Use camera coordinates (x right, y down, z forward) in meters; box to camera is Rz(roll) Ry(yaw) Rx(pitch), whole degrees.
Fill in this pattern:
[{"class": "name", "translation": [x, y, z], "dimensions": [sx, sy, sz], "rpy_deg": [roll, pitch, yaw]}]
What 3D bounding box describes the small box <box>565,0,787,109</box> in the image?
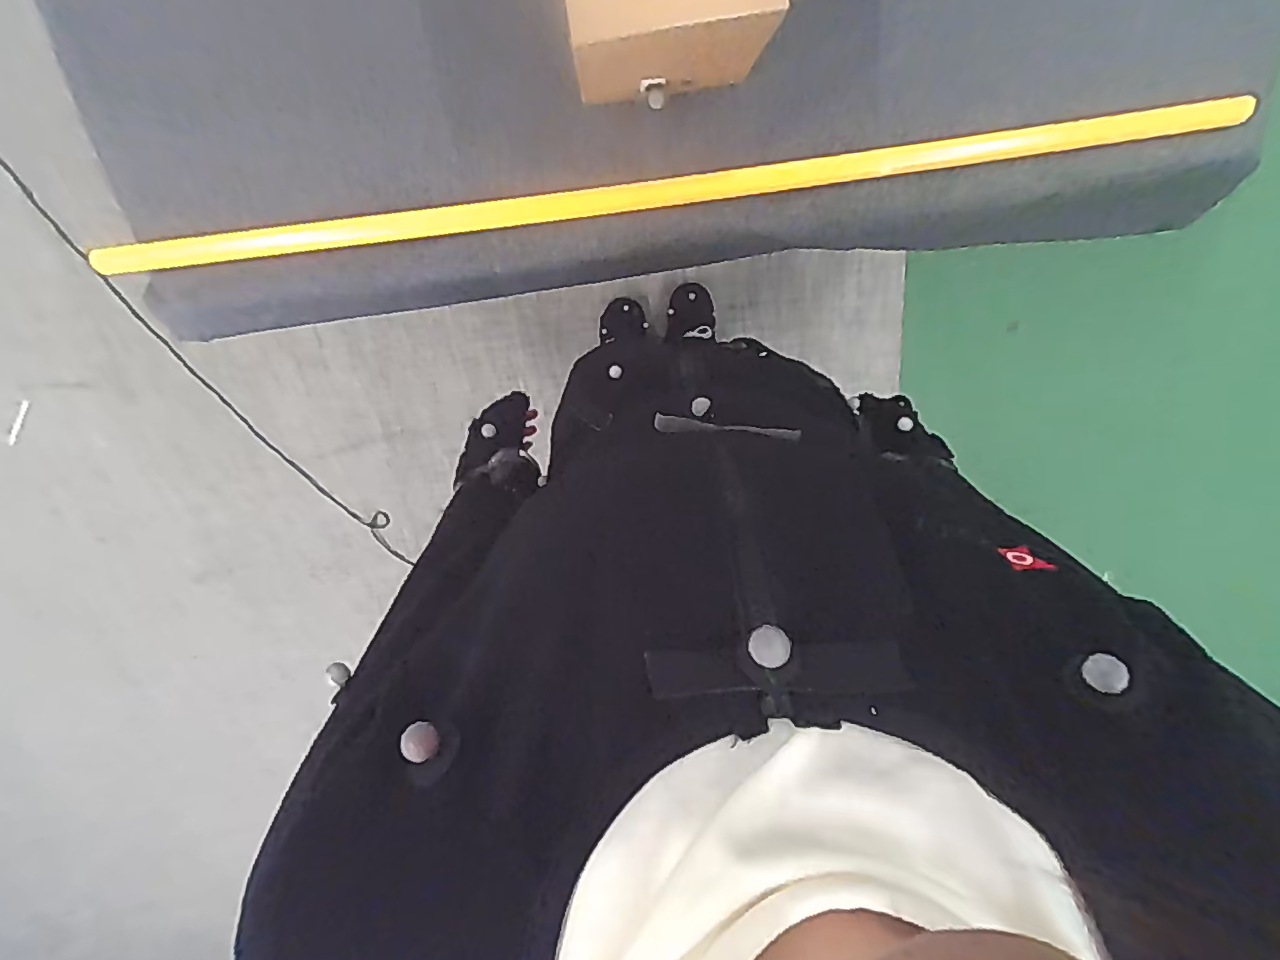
[{"class": "small box", "translation": [0.015, -0.445, 0.450], "dimensions": [0.168, 0.176, 0.179], "rpy_deg": [-9, 111, 2]}]
